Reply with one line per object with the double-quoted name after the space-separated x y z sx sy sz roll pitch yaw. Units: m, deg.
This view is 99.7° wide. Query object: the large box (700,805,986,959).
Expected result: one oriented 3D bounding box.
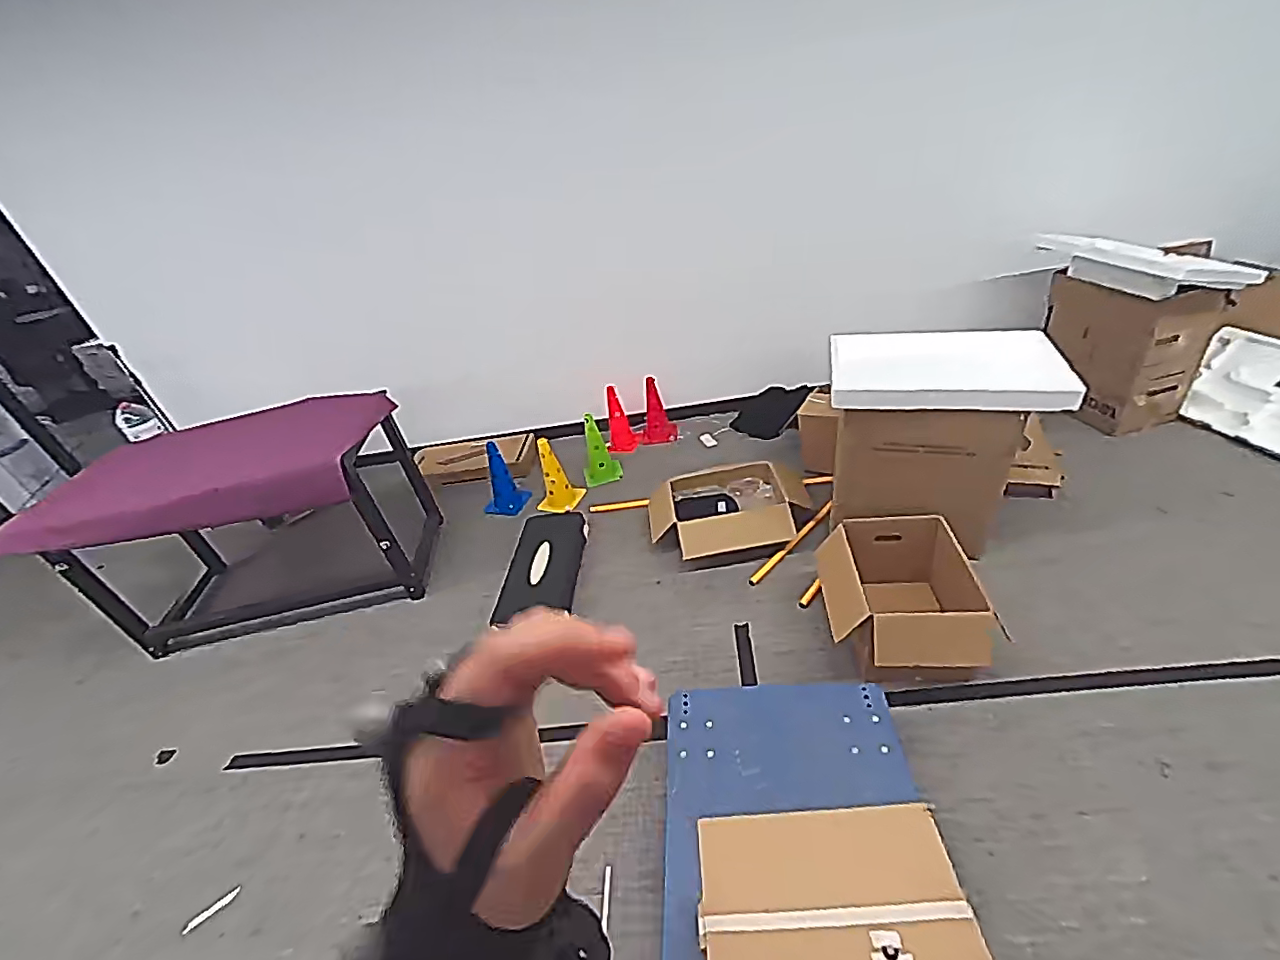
0.325 0.807 0.925 0.408 0.320 0.320 -7 34 5 "large box"
